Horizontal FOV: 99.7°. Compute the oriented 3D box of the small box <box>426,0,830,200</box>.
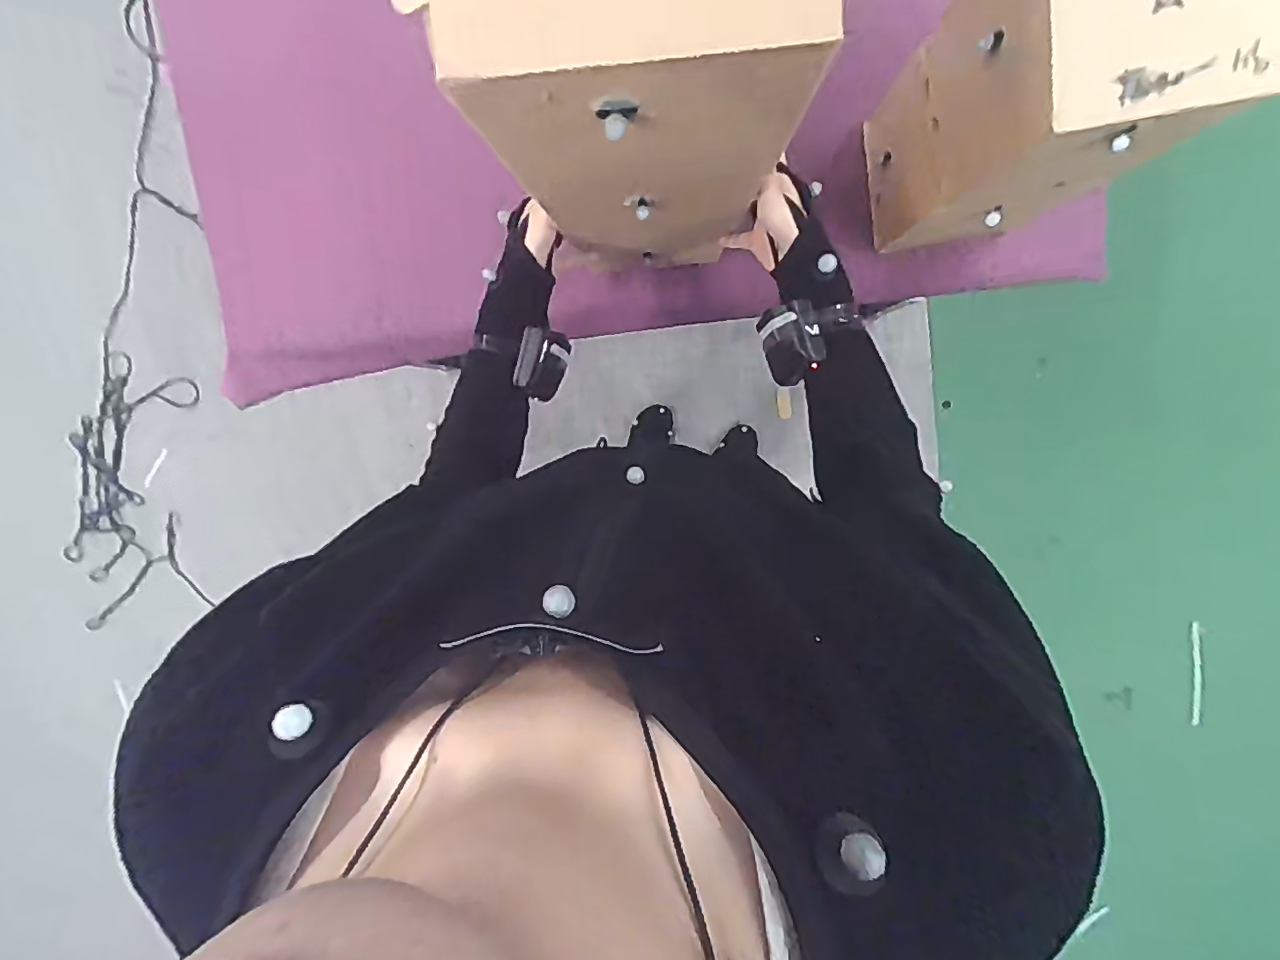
[{"bbox_3d":[-0.004,-0.270,0.298,0.179,0.176,0.168,-3,102,5],"label":"small box"}]

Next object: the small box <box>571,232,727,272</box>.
[{"bbox_3d":[0.012,-0.344,0.616,0.168,0.176,0.179,-4,100,5],"label":"small box"}]

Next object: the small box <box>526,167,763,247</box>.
[{"bbox_3d":[0.005,-0.305,0.458,0.179,0.176,0.168,-3,102,5],"label":"small box"}]

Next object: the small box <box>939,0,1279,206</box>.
[{"bbox_3d":[0.378,-0.366,0.460,0.168,0.176,0.179,-9,97,7],"label":"small box"}]

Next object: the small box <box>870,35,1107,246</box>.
[{"bbox_3d":[0.388,-0.387,0.622,0.179,0.176,0.168,-9,98,6],"label":"small box"}]
